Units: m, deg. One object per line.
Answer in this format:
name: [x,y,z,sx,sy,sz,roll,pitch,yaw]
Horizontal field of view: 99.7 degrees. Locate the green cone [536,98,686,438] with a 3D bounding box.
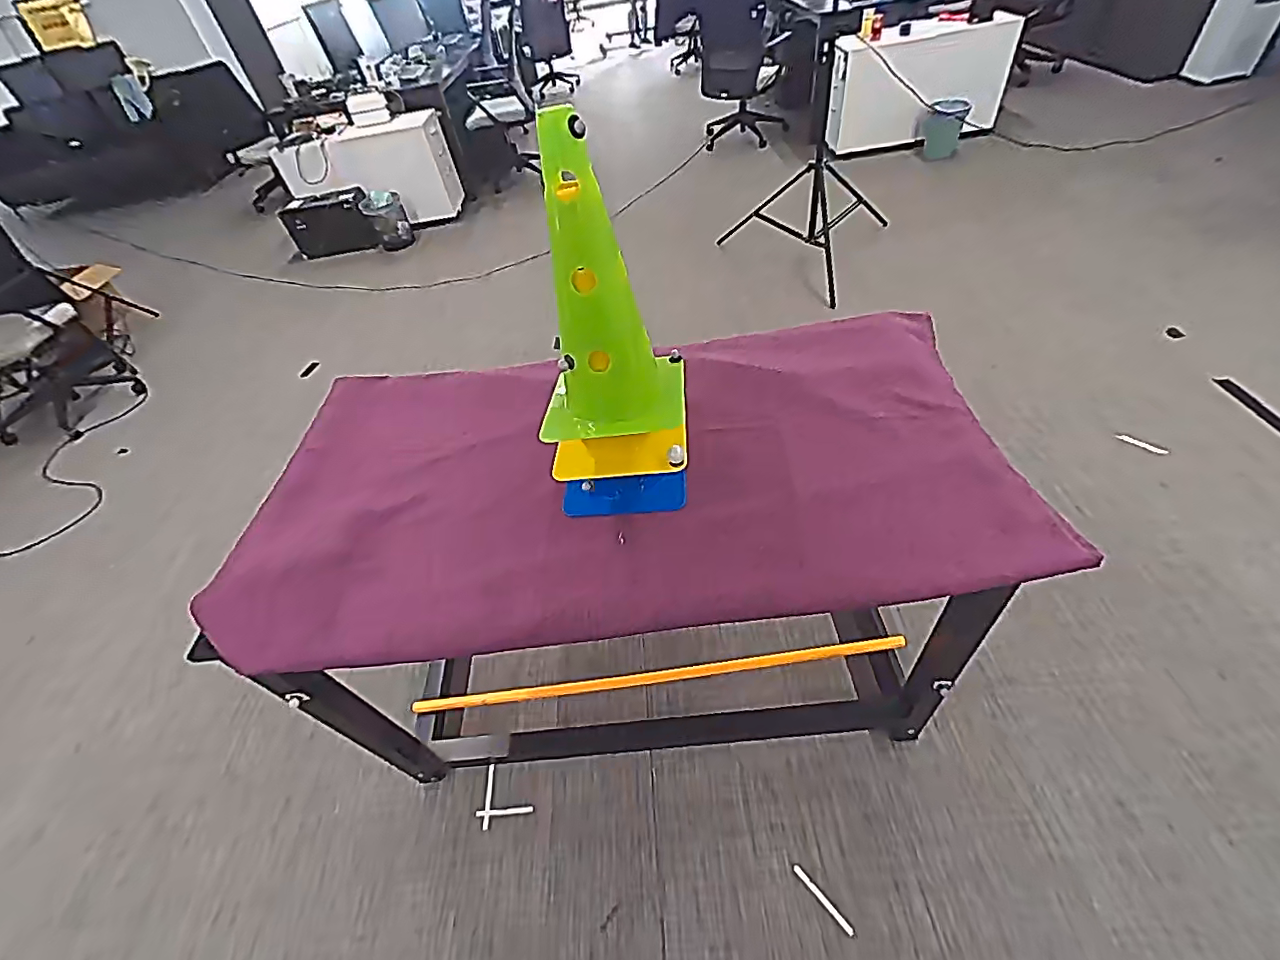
green cone: [-0.063,-0.257,0.678,0.200,0.368,0.202,-6,40,8]
